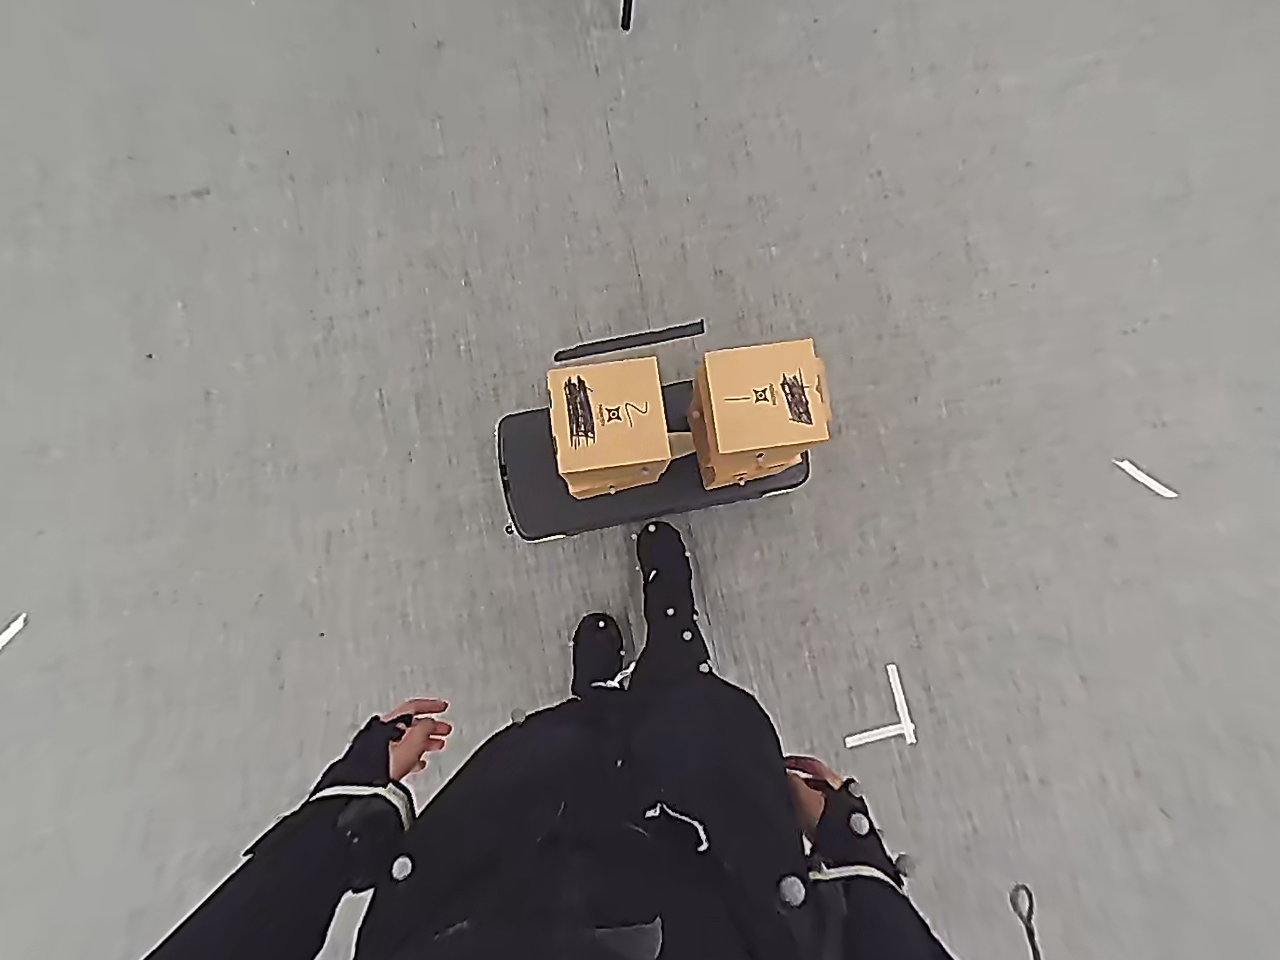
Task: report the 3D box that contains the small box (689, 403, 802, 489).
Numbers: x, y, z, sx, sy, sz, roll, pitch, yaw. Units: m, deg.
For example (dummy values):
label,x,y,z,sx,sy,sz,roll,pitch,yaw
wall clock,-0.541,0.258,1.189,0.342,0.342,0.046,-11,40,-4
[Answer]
label,x,y,z,sx,sy,sz,roll,pitch,yaw
small box,0.201,-0.088,1.083,0.168,0.176,0.179,-13,85,-3

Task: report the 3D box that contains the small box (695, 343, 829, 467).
label,x,y,z,sx,sy,sz,roll,pitch,yaw
small box,0.197,-0.119,0.921,0.179,0.176,0.168,-7,84,-1
